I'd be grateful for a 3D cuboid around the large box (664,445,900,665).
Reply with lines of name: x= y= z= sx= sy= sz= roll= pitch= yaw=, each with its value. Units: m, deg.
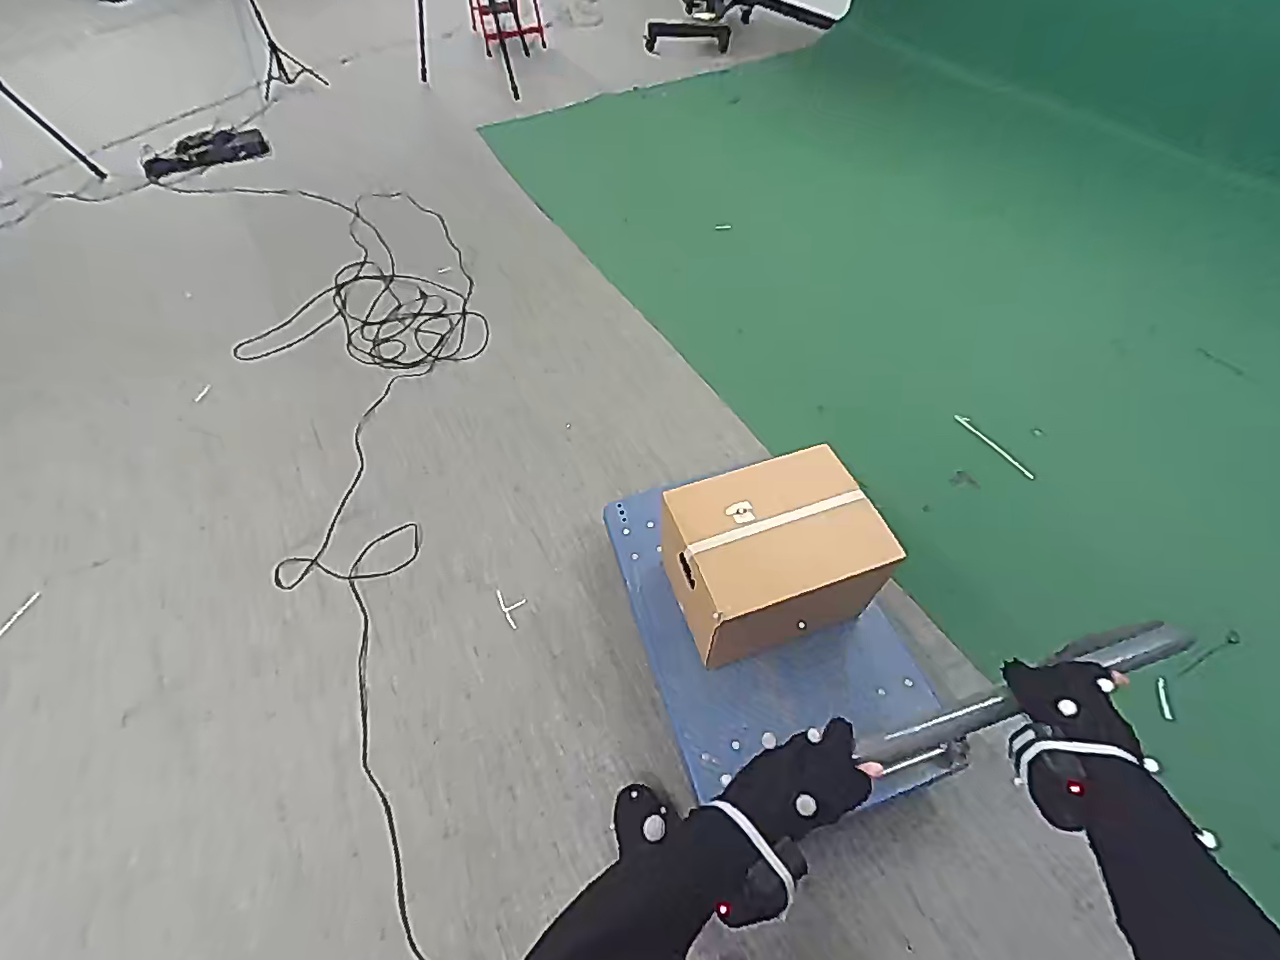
large box: x=0.295 y=0.178 z=1.251 sx=0.408 sy=0.320 sz=0.320 roll=-18 pitch=56 yaw=-9
